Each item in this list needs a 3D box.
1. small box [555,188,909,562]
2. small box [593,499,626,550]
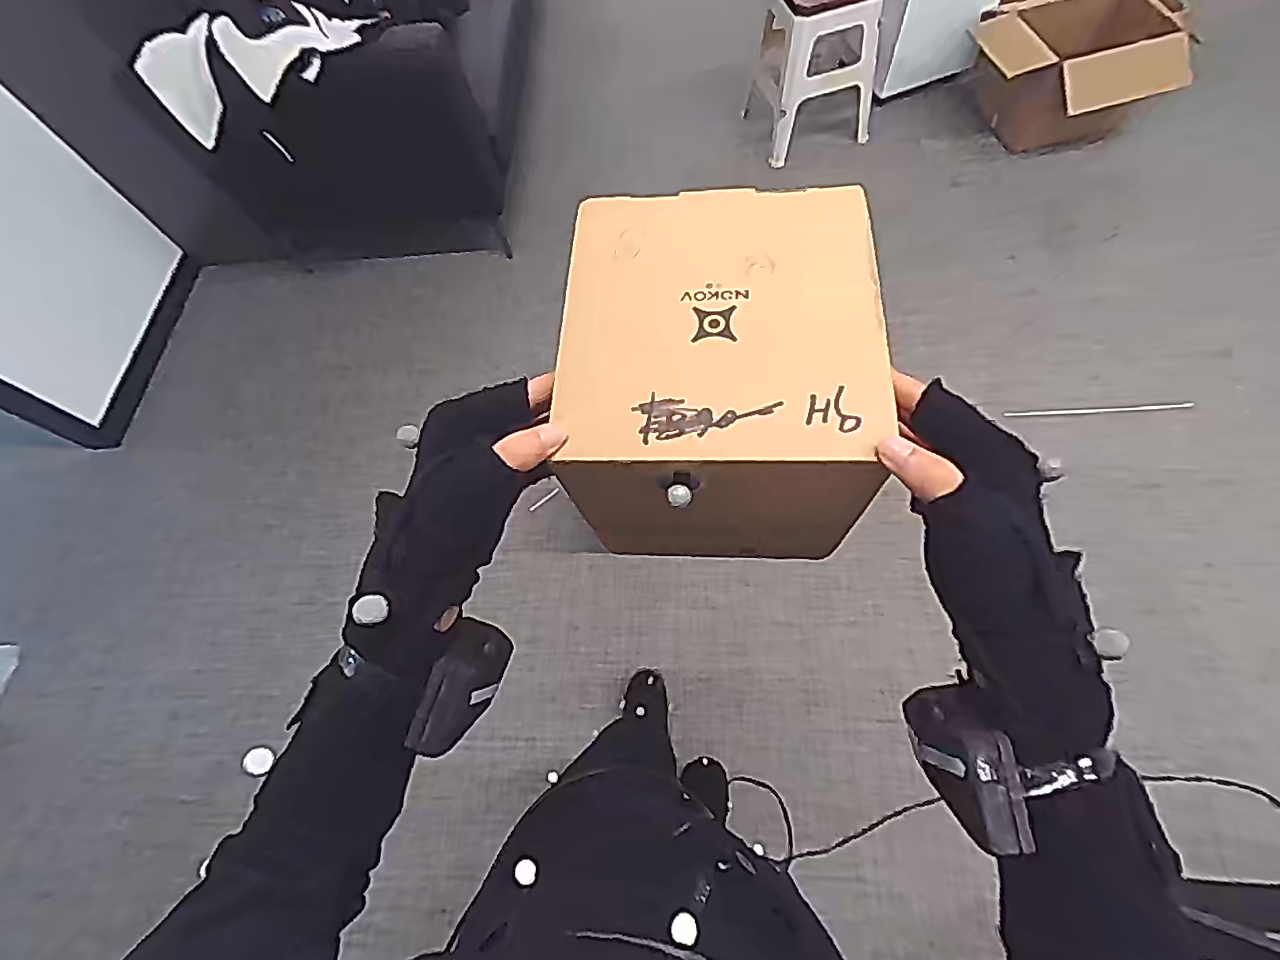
[{"bbox_3d":[0.054,-0.056,0.356,0.168,0.176,0.179,0,66,8],"label":"small box"},{"bbox_3d":[-0.024,0.076,1.430,0.168,0.176,0.179,-2,65,7],"label":"small box"}]
